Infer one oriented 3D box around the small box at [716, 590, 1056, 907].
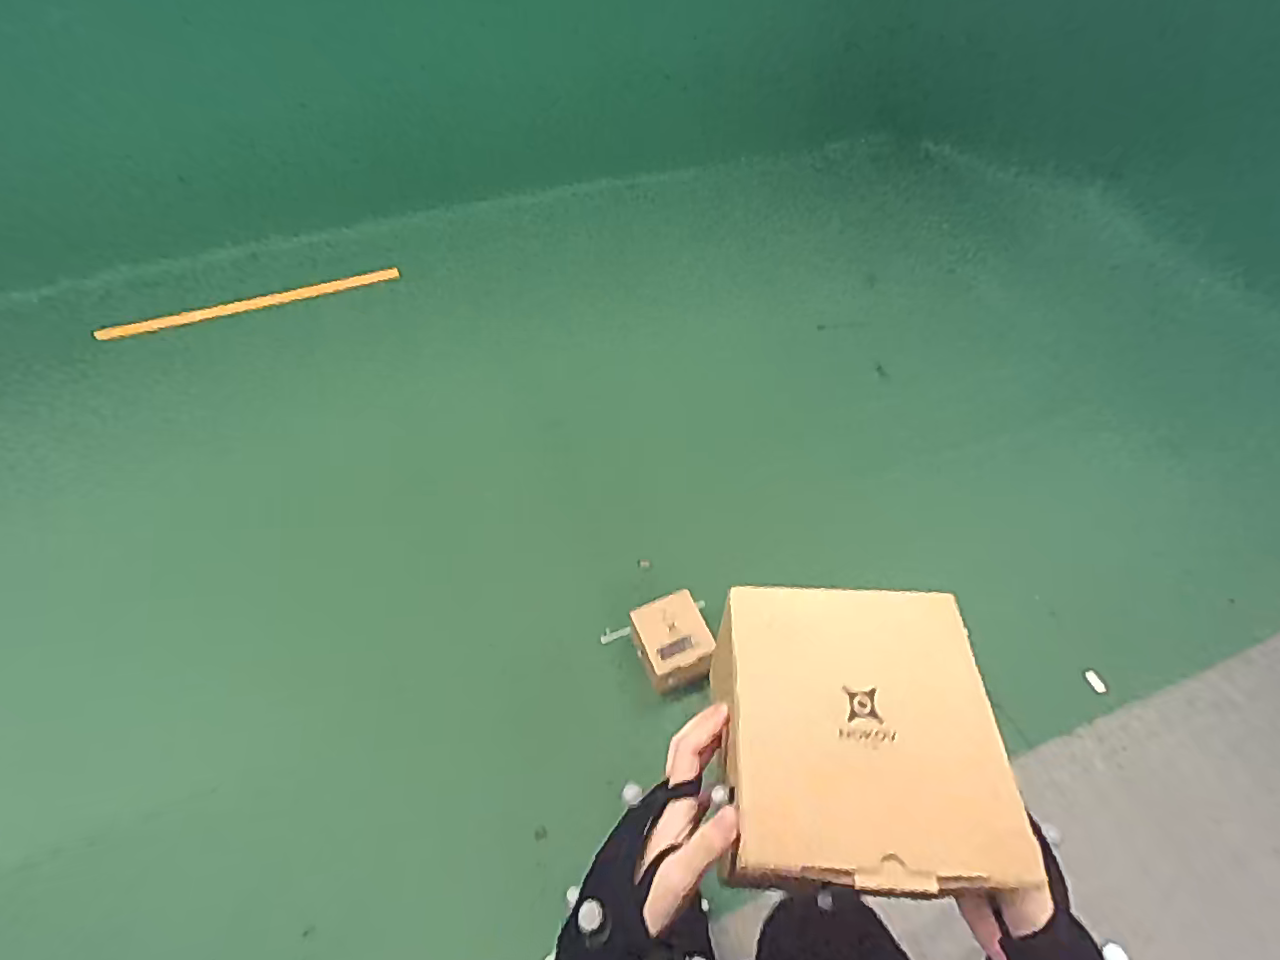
[{"bbox_3d":[0.149,0.203,0.408,0.168,0.176,0.179,1,50,3],"label":"small box"}]
